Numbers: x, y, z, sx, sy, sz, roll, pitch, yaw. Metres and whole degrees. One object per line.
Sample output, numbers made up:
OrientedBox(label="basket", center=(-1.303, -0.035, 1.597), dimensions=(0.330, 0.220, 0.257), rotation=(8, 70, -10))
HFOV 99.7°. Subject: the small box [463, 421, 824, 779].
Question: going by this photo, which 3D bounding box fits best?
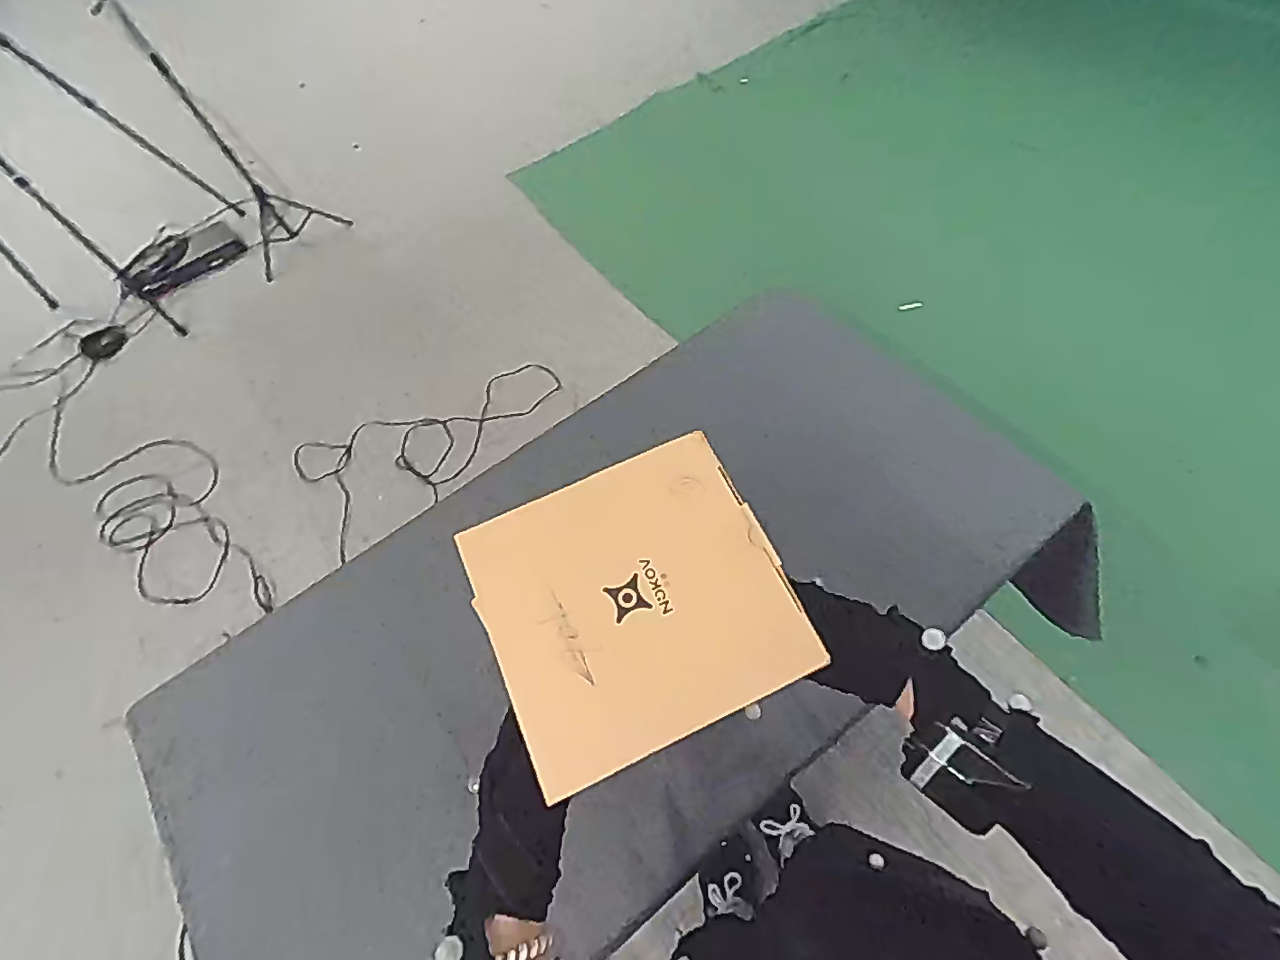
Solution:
OrientedBox(label="small box", center=(-0.001, 0.089, 0.399), dimensions=(0.179, 0.176, 0.168), rotation=(-23, 69, -6))
